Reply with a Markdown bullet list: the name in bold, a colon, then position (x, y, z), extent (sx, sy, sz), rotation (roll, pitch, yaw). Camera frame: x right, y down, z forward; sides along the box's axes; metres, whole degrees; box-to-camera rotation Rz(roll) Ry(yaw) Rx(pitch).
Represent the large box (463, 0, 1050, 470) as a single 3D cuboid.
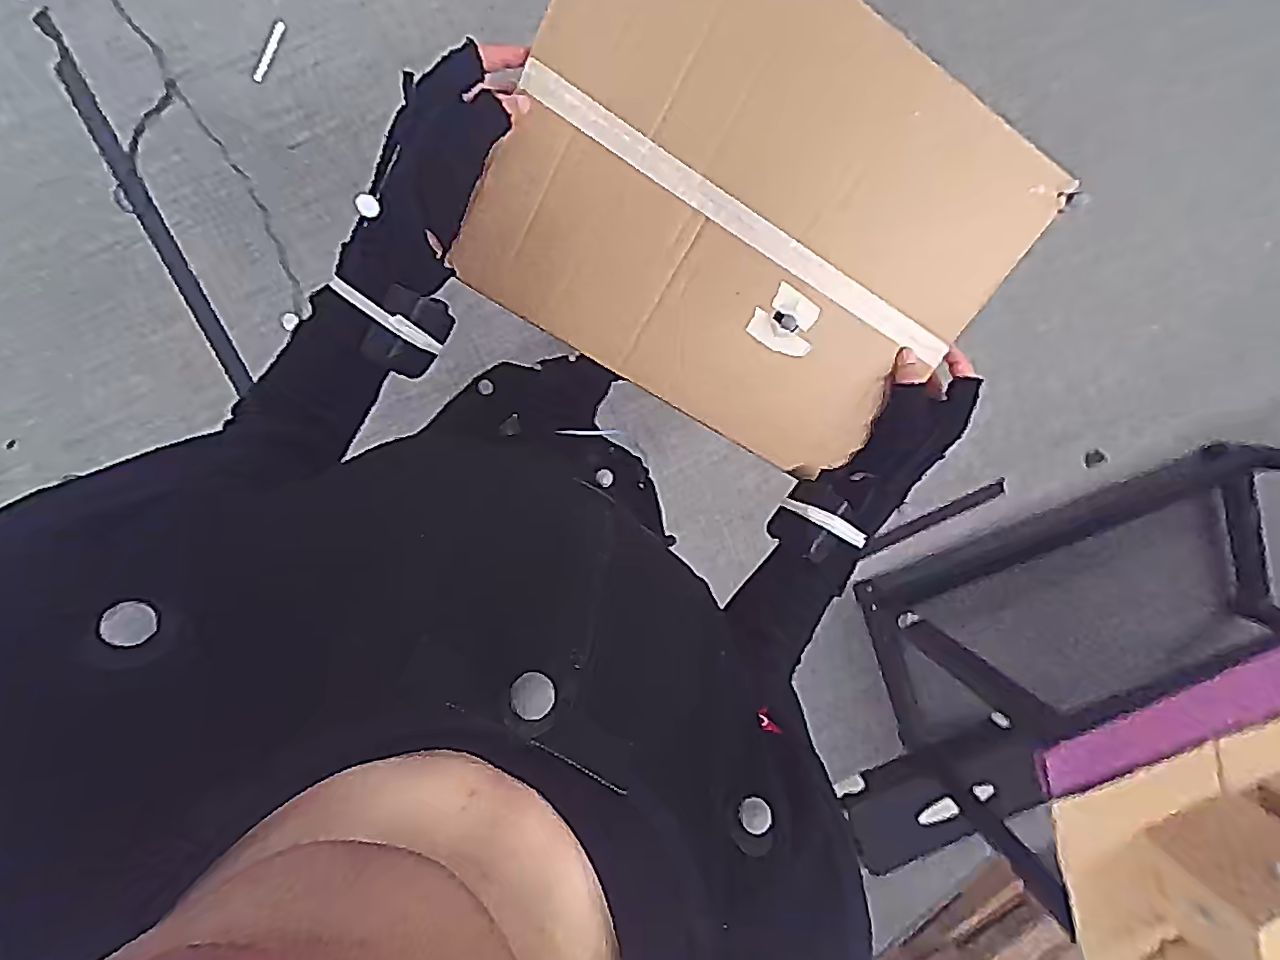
- **large box**: position (0.088, -0.276, 0.588), extent (0.408, 0.320, 0.320), rotation (28, 111, -13)
